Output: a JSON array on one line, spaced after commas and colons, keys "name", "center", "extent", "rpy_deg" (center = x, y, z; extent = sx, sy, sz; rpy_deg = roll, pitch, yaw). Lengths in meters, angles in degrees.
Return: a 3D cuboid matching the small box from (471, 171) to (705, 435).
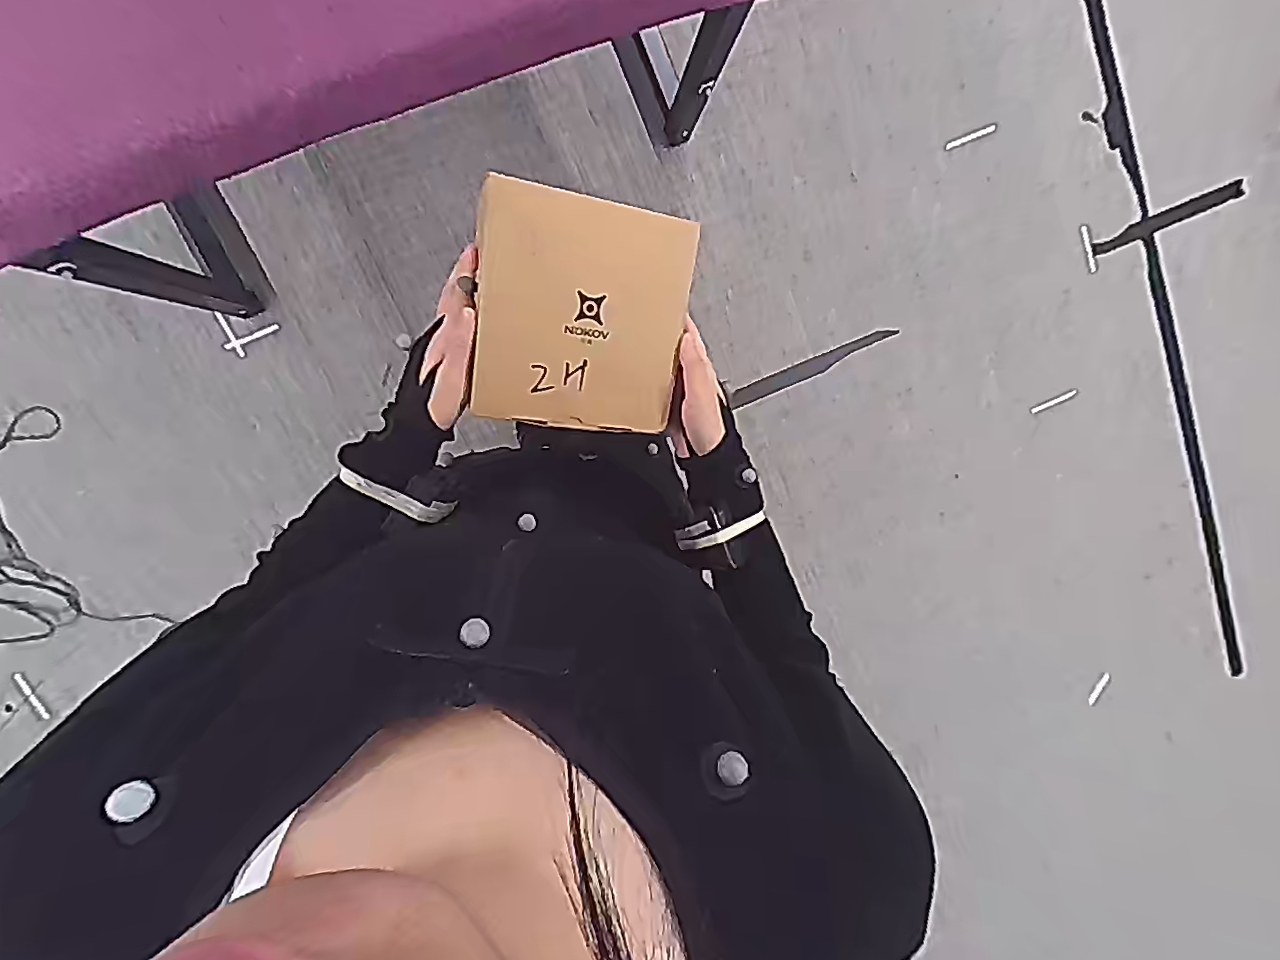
[{"name": "small box", "center": [-0.062, -0.151, 0.498], "extent": [0.168, 0.176, 0.179], "rpy_deg": [5, 106, -20]}]
